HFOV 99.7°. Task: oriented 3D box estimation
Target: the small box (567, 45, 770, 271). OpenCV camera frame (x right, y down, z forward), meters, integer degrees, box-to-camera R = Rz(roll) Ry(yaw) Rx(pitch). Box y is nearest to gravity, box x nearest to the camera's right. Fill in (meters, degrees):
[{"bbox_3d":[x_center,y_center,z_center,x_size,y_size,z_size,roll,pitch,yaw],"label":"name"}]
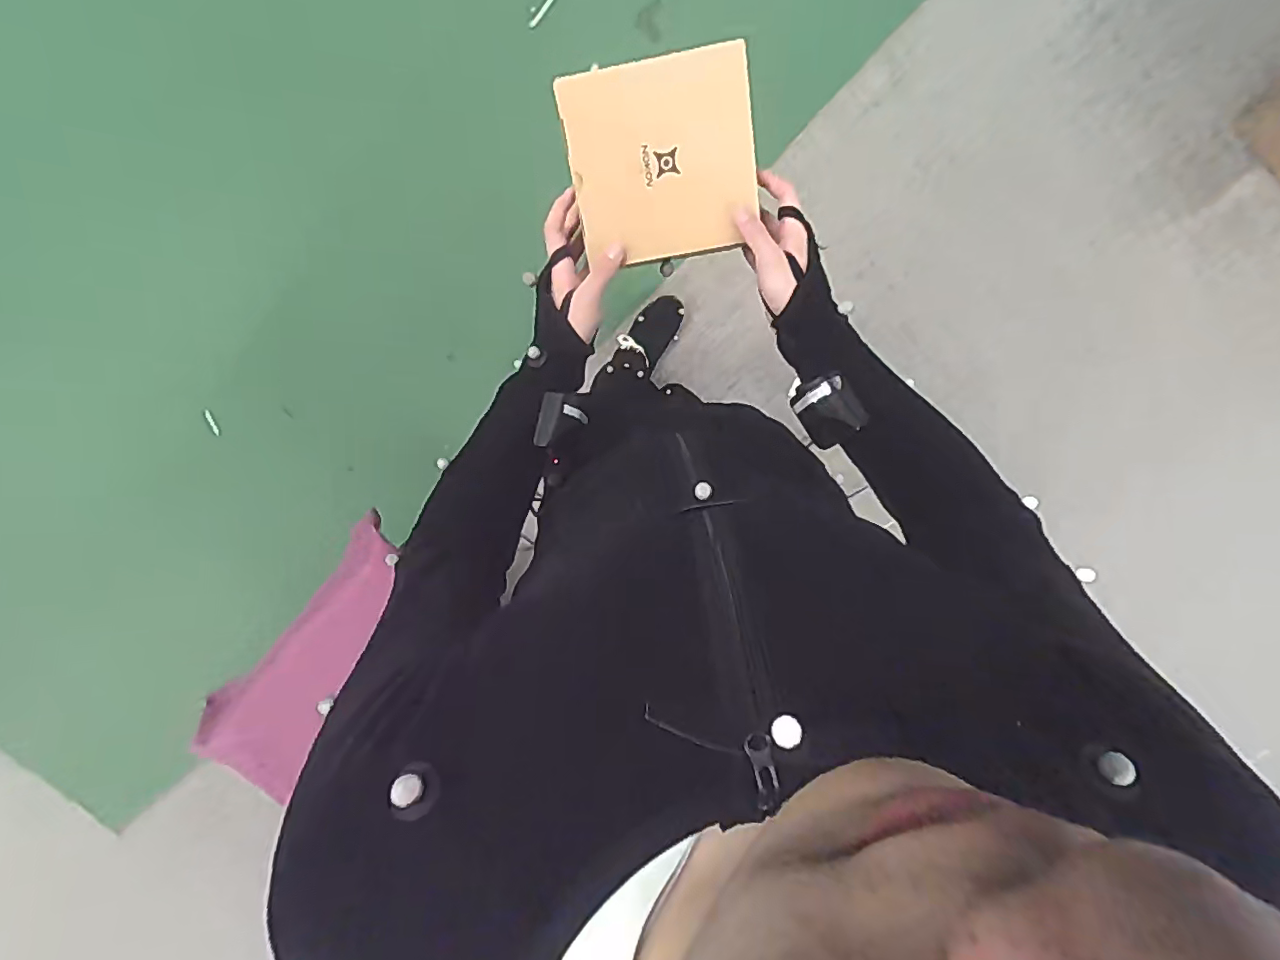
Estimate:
[{"bbox_3d":[0.031,-0.326,0.582,0.179,0.176,0.168,-8,111,5],"label":"small box"}]
